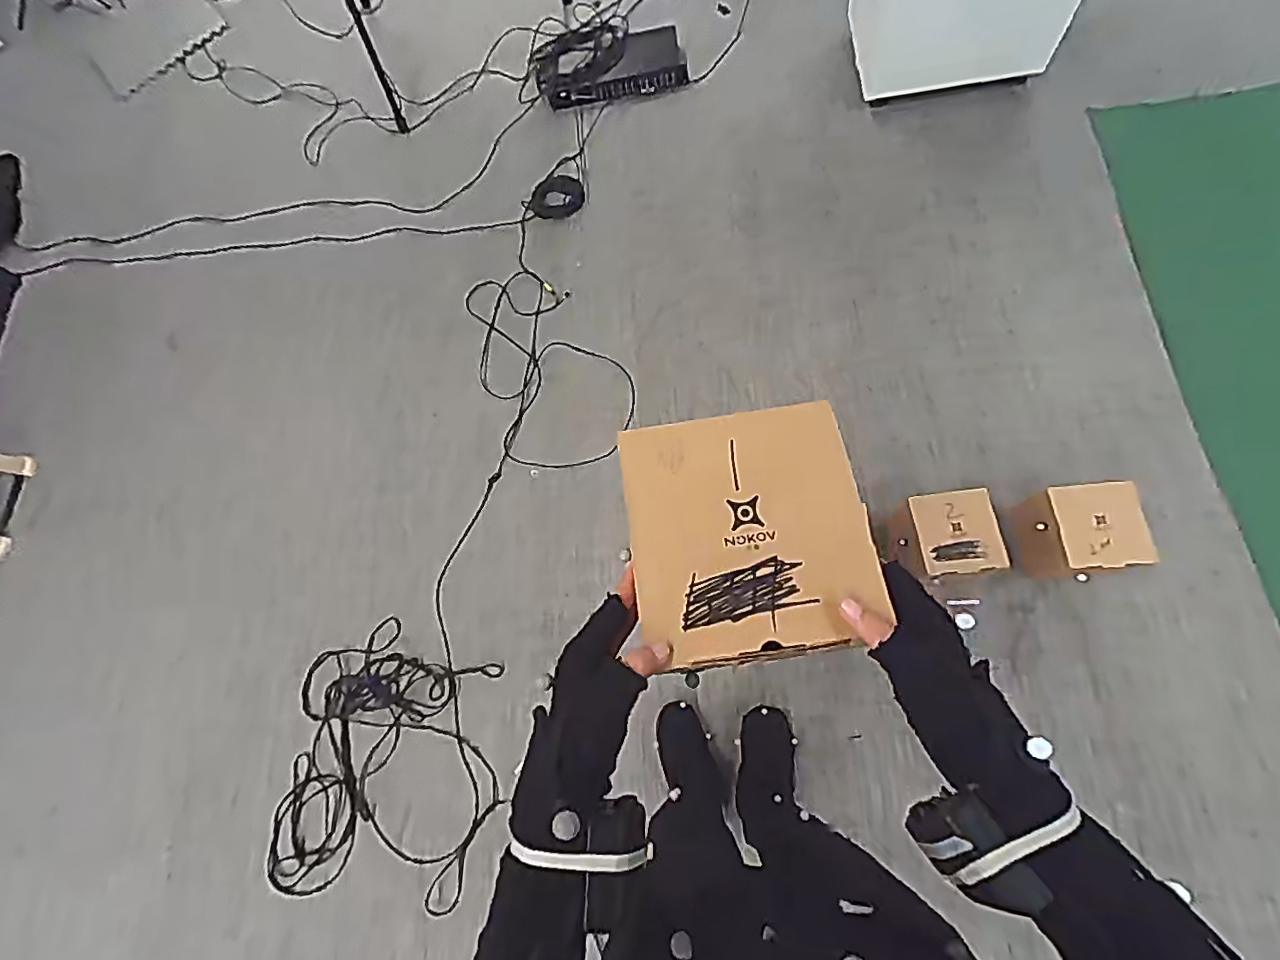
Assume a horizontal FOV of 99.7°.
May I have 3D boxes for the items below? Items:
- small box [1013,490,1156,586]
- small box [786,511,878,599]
[{"bbox_3d":[0.963,0.133,1.192,0.168,0.176,0.179,-5,72,9],"label":"small box"},{"bbox_3d":[0.440,0.180,1.266,0.168,0.176,0.179,-5,72,9],"label":"small box"}]
